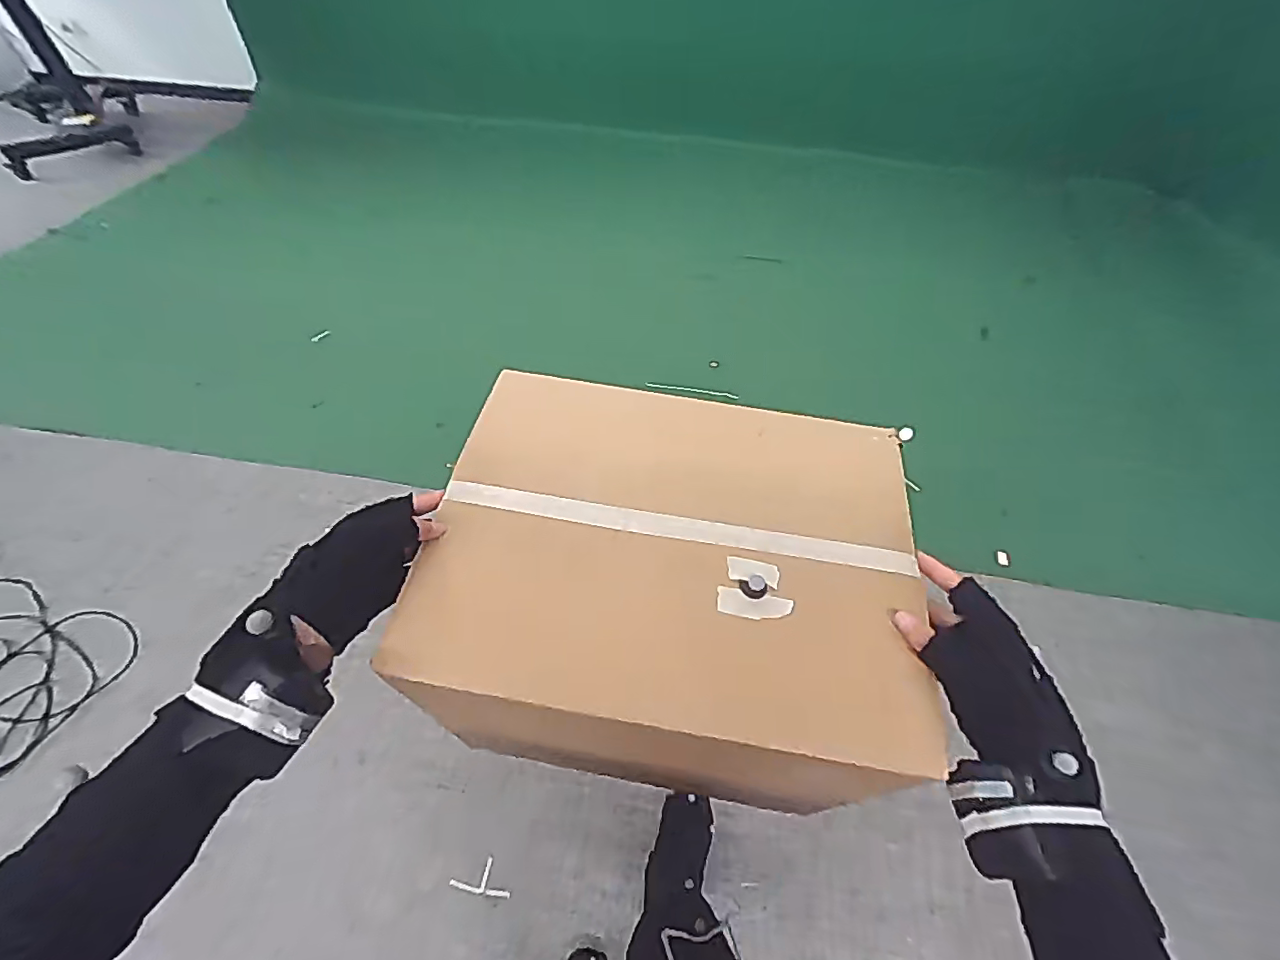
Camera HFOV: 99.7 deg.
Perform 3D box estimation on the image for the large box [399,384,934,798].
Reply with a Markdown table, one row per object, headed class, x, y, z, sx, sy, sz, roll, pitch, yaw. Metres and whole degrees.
| class | x | y | z | sx | sy | sz | roll | pitch | yaw |
| --- | --- | --- | --- | --- | --- | --- | --- | --- | --- |
| large box | 0.028 | 0.131 | 0.598 | 0.408 | 0.320 | 0.320 | 9 | 55 | 3 |
